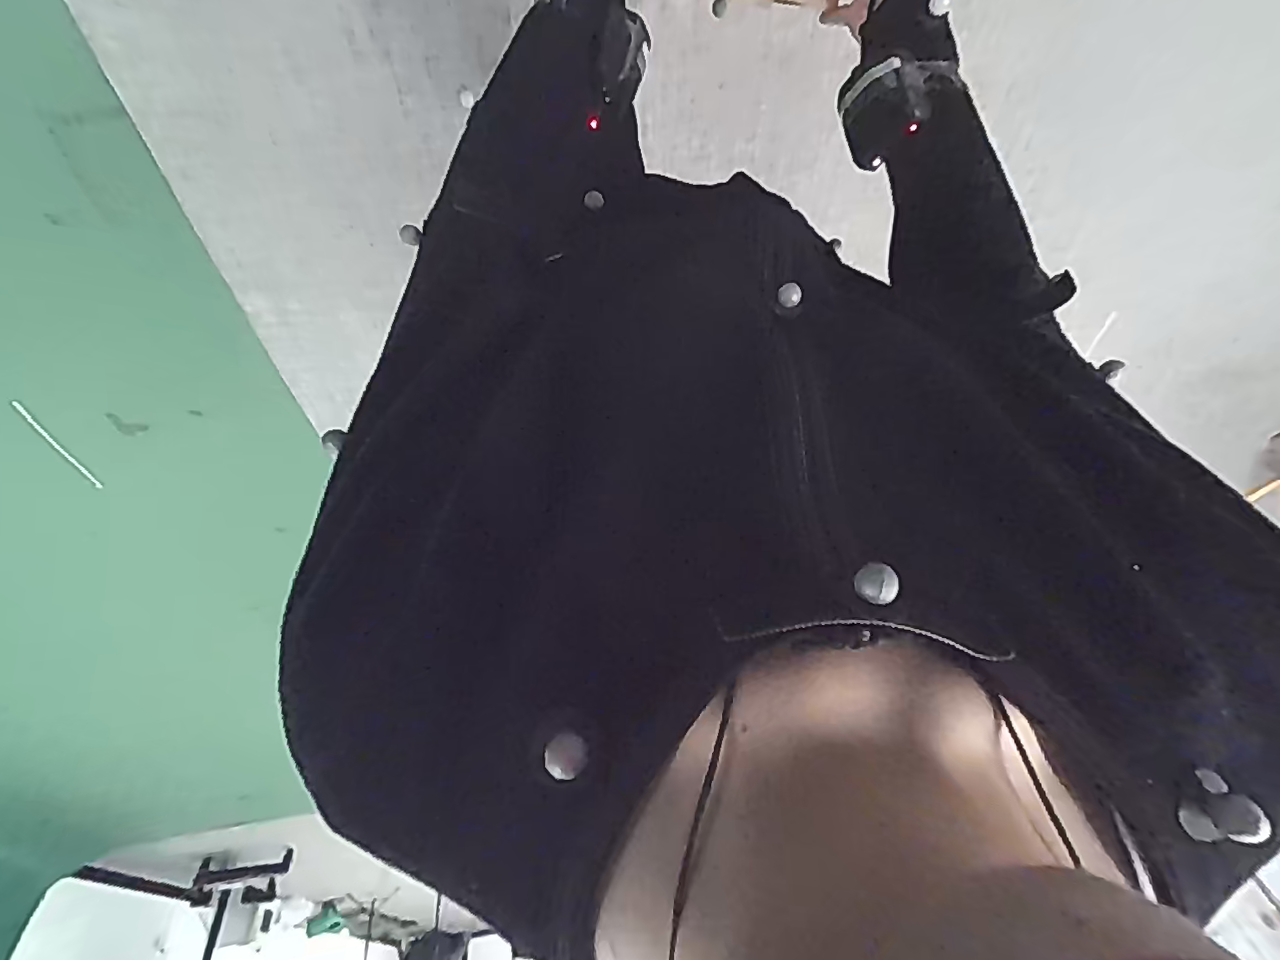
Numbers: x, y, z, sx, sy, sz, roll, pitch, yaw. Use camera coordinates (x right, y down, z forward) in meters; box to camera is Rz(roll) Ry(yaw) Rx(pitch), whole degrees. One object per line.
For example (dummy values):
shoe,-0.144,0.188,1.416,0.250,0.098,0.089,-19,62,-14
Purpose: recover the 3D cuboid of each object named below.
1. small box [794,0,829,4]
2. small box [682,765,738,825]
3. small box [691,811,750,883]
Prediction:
small box,0.094,-0.544,0.466,0.168,0.176,0.179,0,133,-12
small box,0.263,1.205,2.056,0.179,0.176,0.168,-9,135,-3
small box,0.283,1.316,1.940,0.179,0.176,0.168,-11,135,-2
